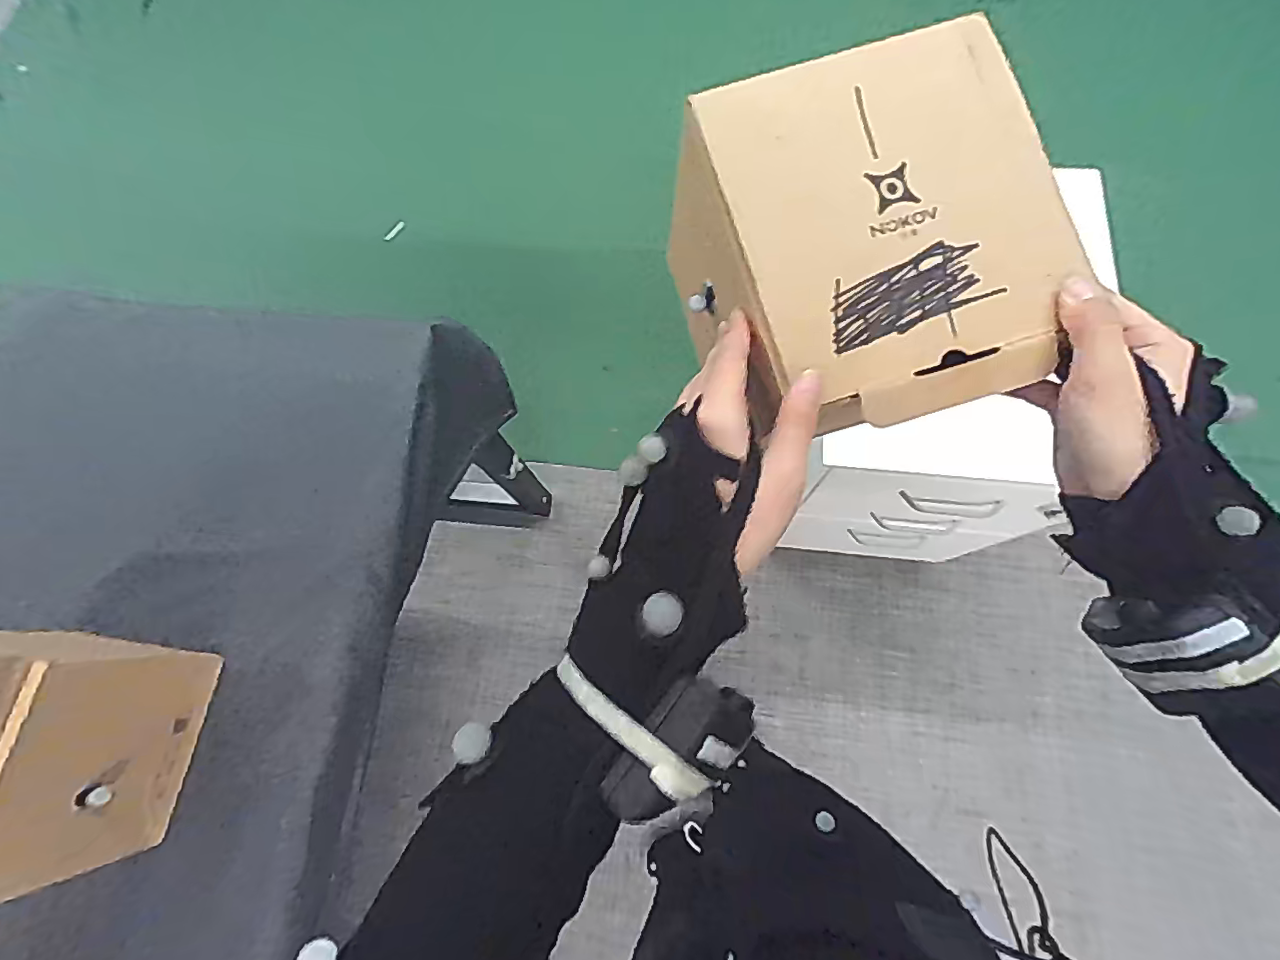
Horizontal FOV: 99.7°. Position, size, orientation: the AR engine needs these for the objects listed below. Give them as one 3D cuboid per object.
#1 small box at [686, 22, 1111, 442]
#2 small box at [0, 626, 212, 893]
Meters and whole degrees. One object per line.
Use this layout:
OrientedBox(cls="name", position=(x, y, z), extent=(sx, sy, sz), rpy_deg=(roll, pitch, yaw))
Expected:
OrientedBox(cls="small box", position=(0.135, -0.130, 0.354), extent=(0.168, 0.176, 0.179), rpy_deg=(-15, 84, -2))
OrientedBox(cls="small box", position=(-0.517, 0.215, 0.448), extent=(0.179, 0.176, 0.168), rpy_deg=(6, 73, 6))
